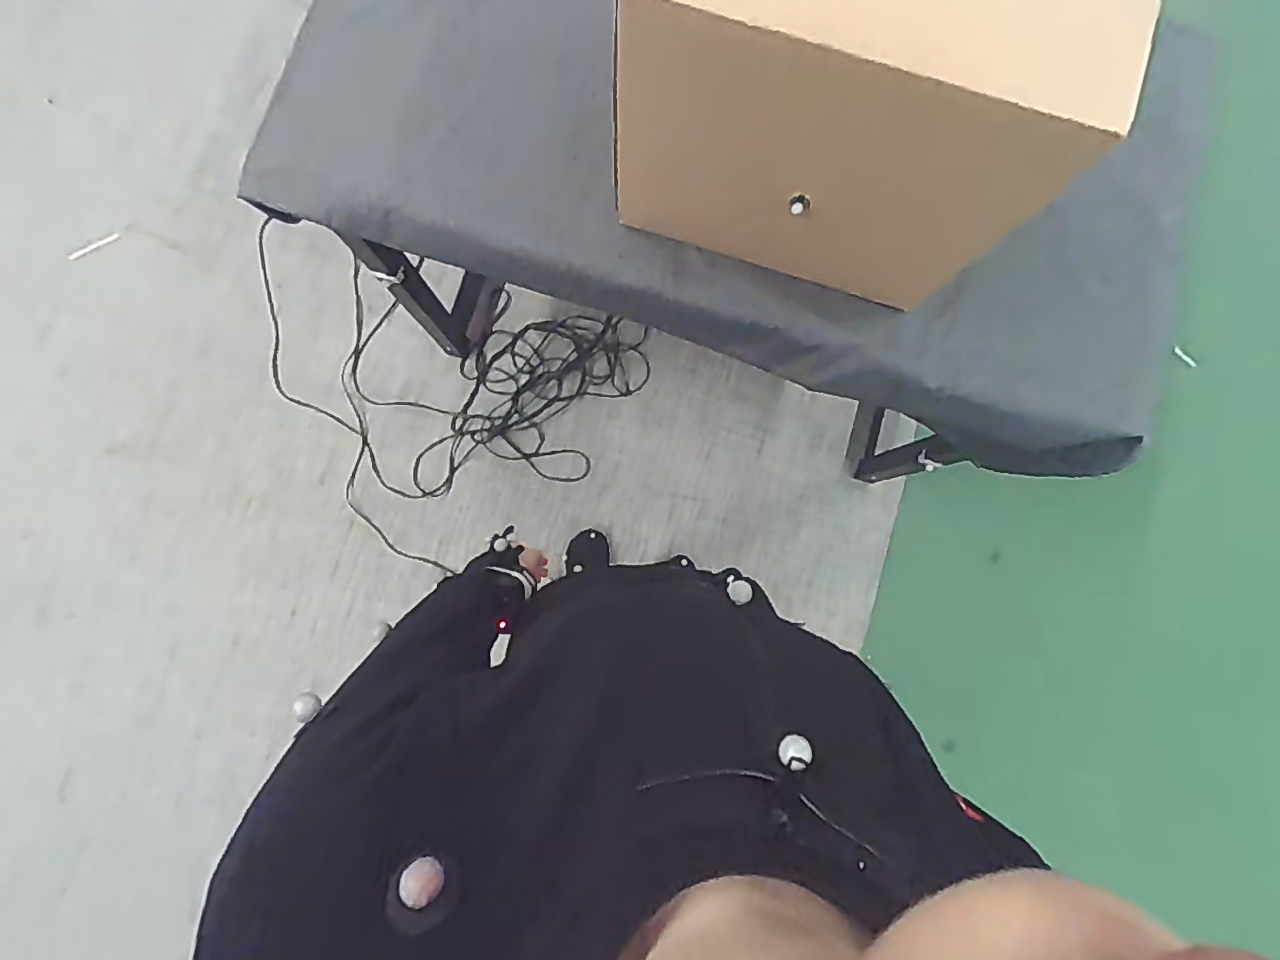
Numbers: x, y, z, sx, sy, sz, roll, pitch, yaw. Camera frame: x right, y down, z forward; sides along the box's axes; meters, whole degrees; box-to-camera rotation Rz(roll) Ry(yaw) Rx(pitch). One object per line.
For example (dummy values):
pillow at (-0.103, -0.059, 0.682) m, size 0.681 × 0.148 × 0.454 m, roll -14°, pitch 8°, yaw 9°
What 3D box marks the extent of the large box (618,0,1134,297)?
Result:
large box at (0.211, -0.445, 0.586) m, size 0.408 × 0.320 × 0.320 m, roll 15°, pitch 82°, yaw 1°
